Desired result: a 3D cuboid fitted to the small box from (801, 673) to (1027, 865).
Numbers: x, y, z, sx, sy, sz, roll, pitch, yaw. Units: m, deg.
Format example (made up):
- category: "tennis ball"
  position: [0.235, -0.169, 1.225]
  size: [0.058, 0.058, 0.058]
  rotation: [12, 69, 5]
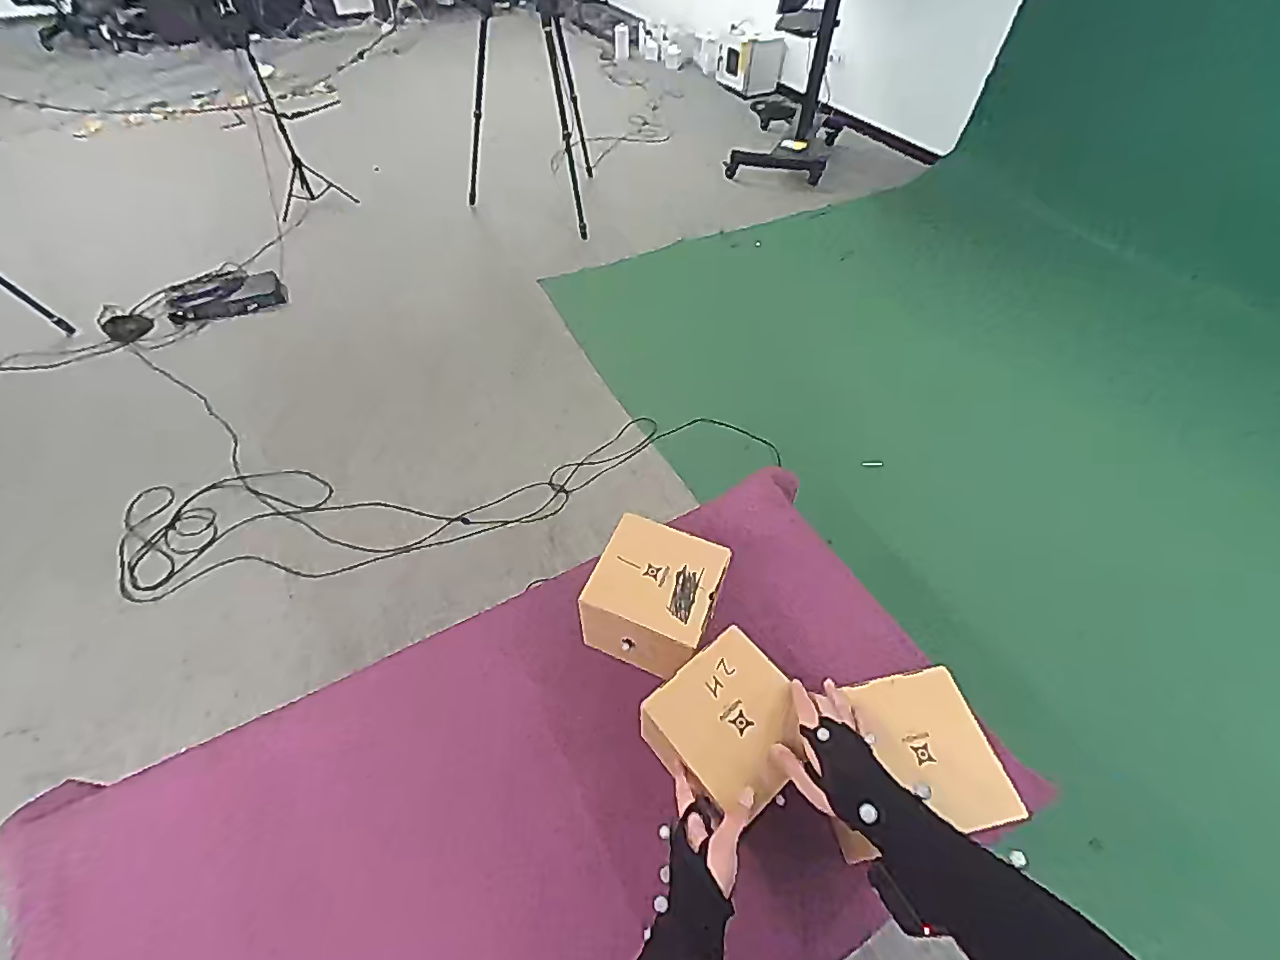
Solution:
- category: "small box"
  position: [0.328, 0.373, 0.691]
  size: [0.168, 0.176, 0.179]
  rotation: [-8, 52, -8]
